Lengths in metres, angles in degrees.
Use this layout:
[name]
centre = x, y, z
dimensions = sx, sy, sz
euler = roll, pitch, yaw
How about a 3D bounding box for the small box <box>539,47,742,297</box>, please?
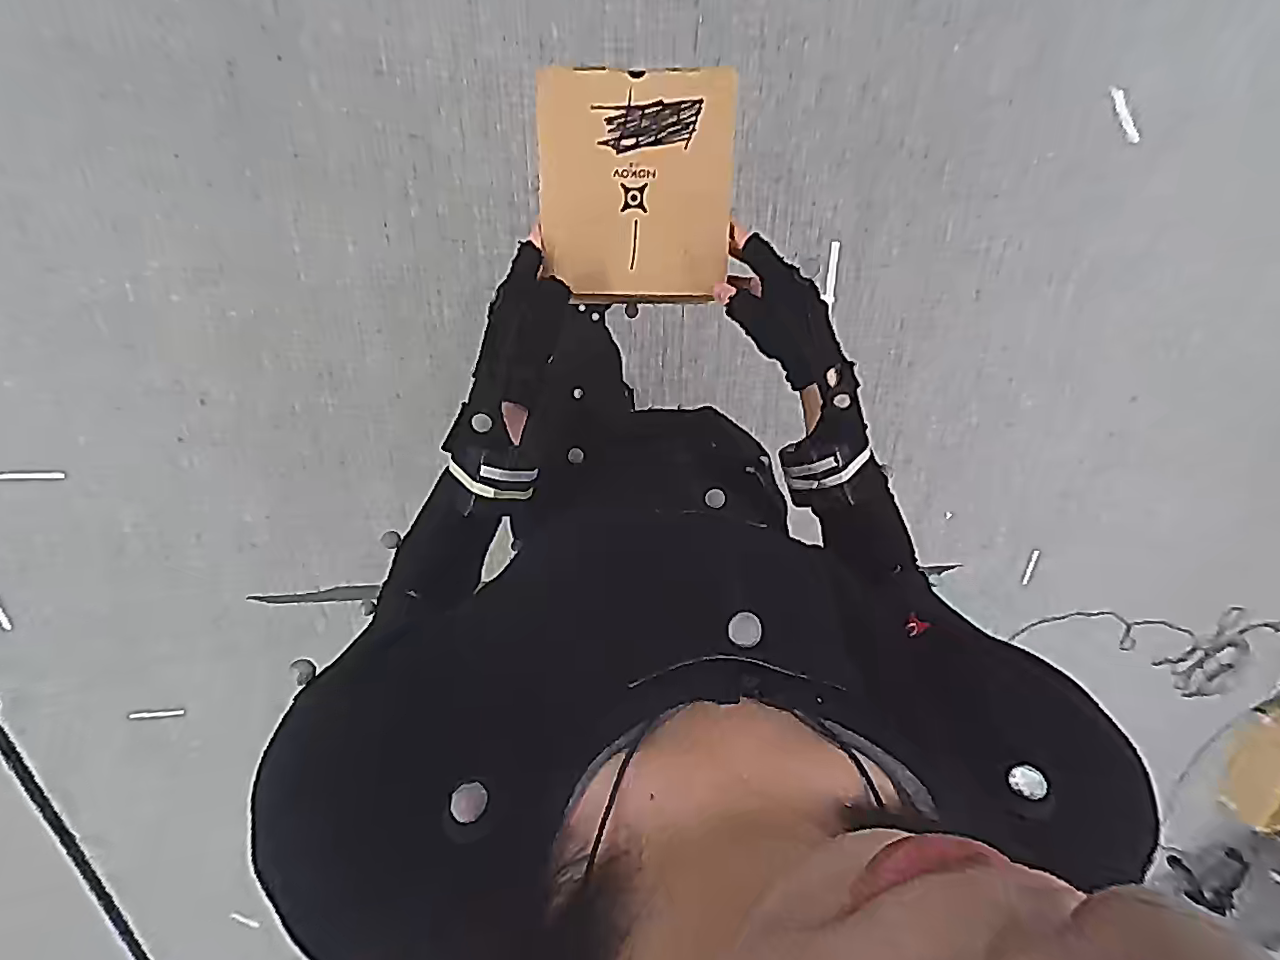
[small box]
centre = -0.001, -0.278, 0.526
dimensions = 0.168, 0.176, 0.179
euler = 1, 106, 2
